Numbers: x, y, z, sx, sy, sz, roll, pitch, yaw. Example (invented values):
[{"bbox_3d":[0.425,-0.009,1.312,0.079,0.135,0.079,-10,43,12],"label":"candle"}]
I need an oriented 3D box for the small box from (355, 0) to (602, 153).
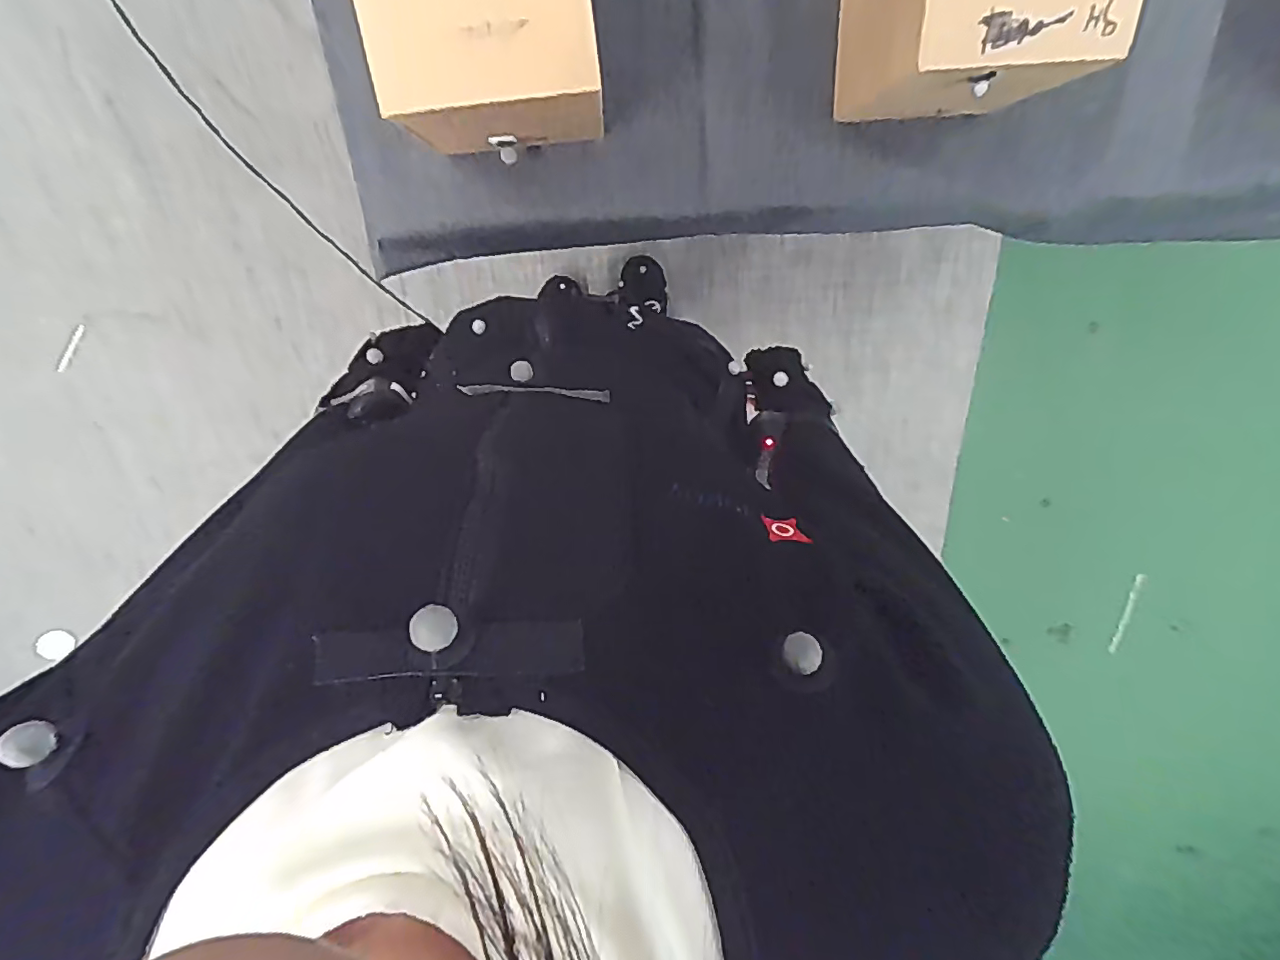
[{"bbox_3d":[-0.124,-0.391,0.442,0.168,0.176,0.179,-8,112,0],"label":"small box"}]

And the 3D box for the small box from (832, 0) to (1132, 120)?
[{"bbox_3d":[0.274,-0.428,0.452,0.168,0.176,0.179,-4,112,-1],"label":"small box"}]
